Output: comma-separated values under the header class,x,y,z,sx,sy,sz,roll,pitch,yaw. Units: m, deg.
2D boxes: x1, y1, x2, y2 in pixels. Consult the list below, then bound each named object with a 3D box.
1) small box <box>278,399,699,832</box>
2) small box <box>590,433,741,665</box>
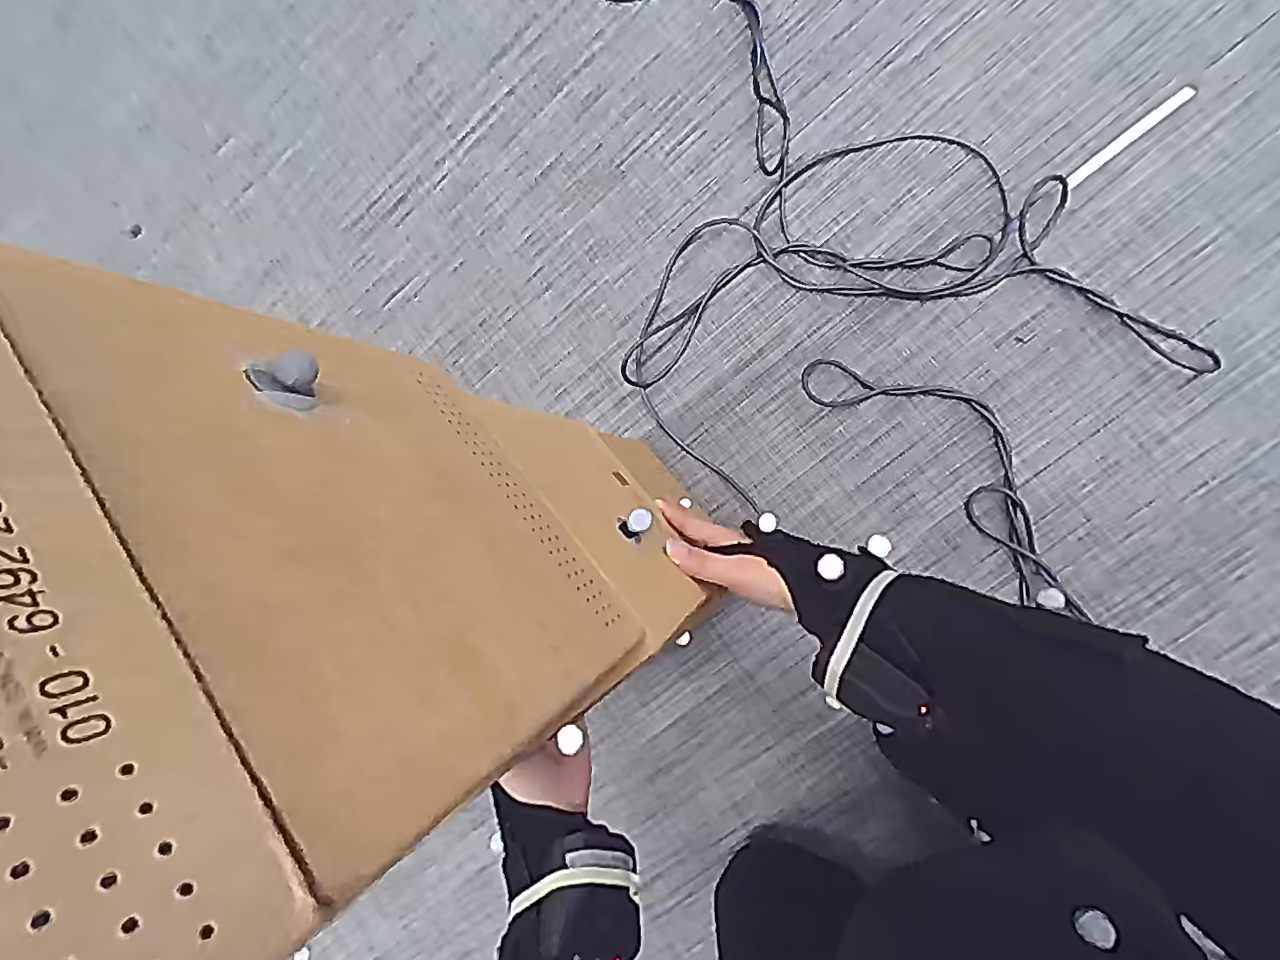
class,x,y,z,sx,sy,sz,roll,pitch,yaw
small box,-0.078,0.071,0.360,0.179,0.176,0.168,-44,78,14
small box,-0.026,0.077,0.514,0.168,0.176,0.179,-43,79,14
